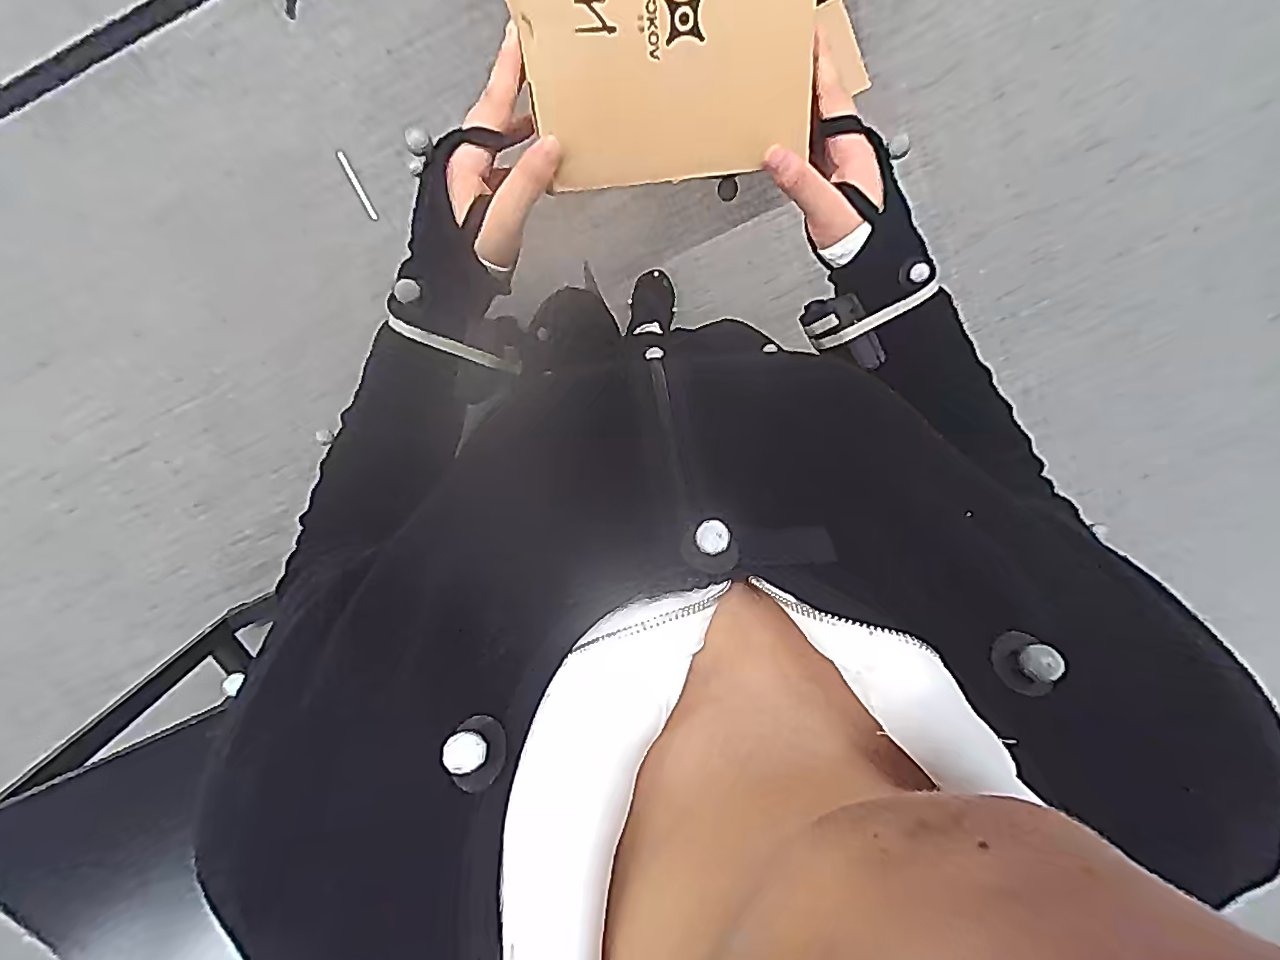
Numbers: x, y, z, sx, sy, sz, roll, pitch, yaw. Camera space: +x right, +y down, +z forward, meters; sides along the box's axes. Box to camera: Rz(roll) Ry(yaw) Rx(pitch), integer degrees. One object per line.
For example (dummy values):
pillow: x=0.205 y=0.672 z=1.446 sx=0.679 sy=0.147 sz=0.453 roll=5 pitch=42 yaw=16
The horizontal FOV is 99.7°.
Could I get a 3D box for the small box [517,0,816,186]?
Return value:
small box: x=0.010 y=-0.311 z=0.380 sx=0.179 sy=0.176 sz=0.168 roll=-7 pitch=120 yaw=-1
